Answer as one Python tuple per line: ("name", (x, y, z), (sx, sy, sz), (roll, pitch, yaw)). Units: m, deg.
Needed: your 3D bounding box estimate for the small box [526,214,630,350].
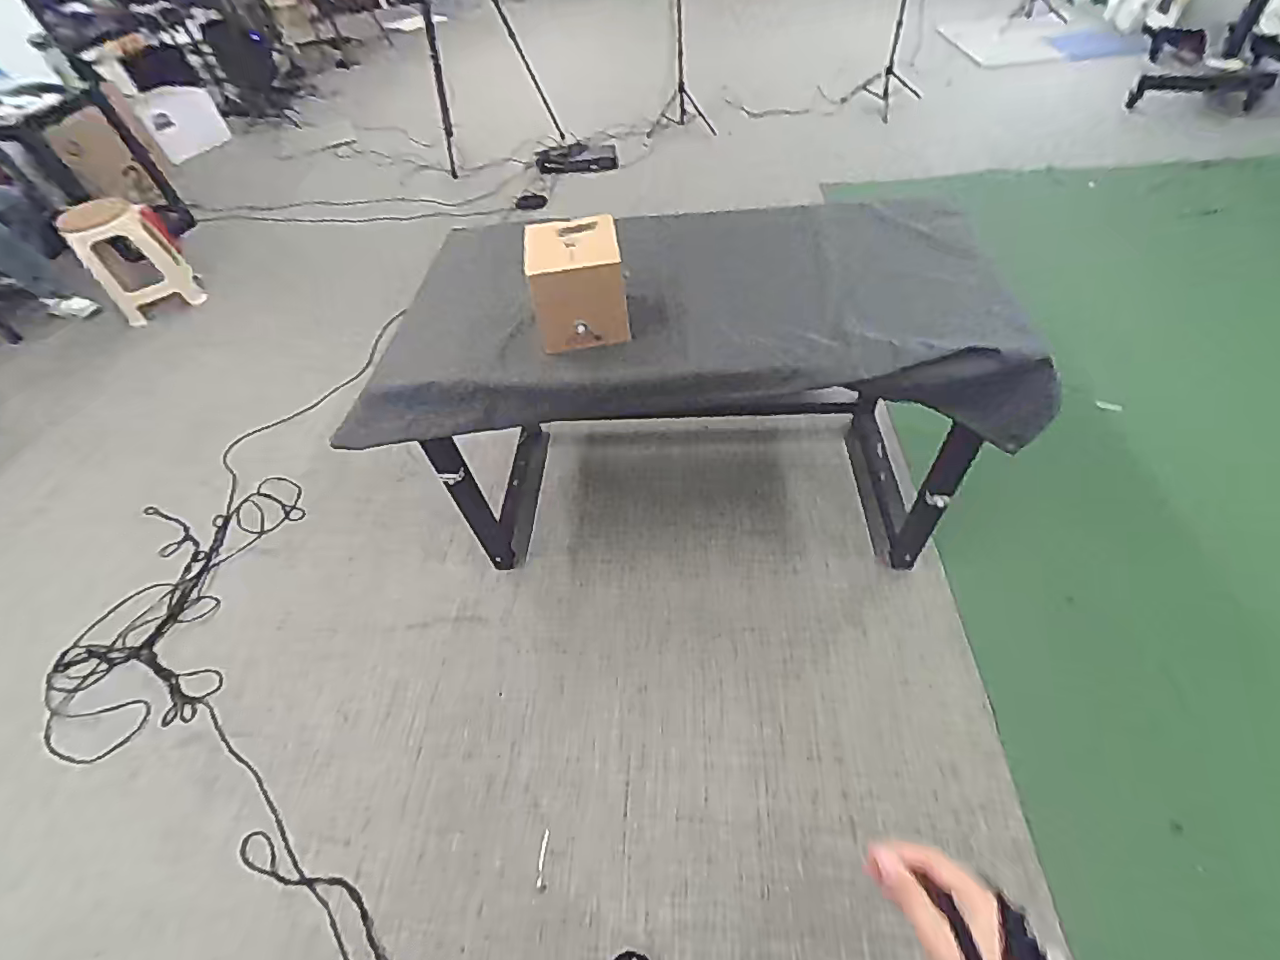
("small box", (-0.113, -0.371, 1.020), (0.168, 0.176, 0.179), (-9, 51, 0))
